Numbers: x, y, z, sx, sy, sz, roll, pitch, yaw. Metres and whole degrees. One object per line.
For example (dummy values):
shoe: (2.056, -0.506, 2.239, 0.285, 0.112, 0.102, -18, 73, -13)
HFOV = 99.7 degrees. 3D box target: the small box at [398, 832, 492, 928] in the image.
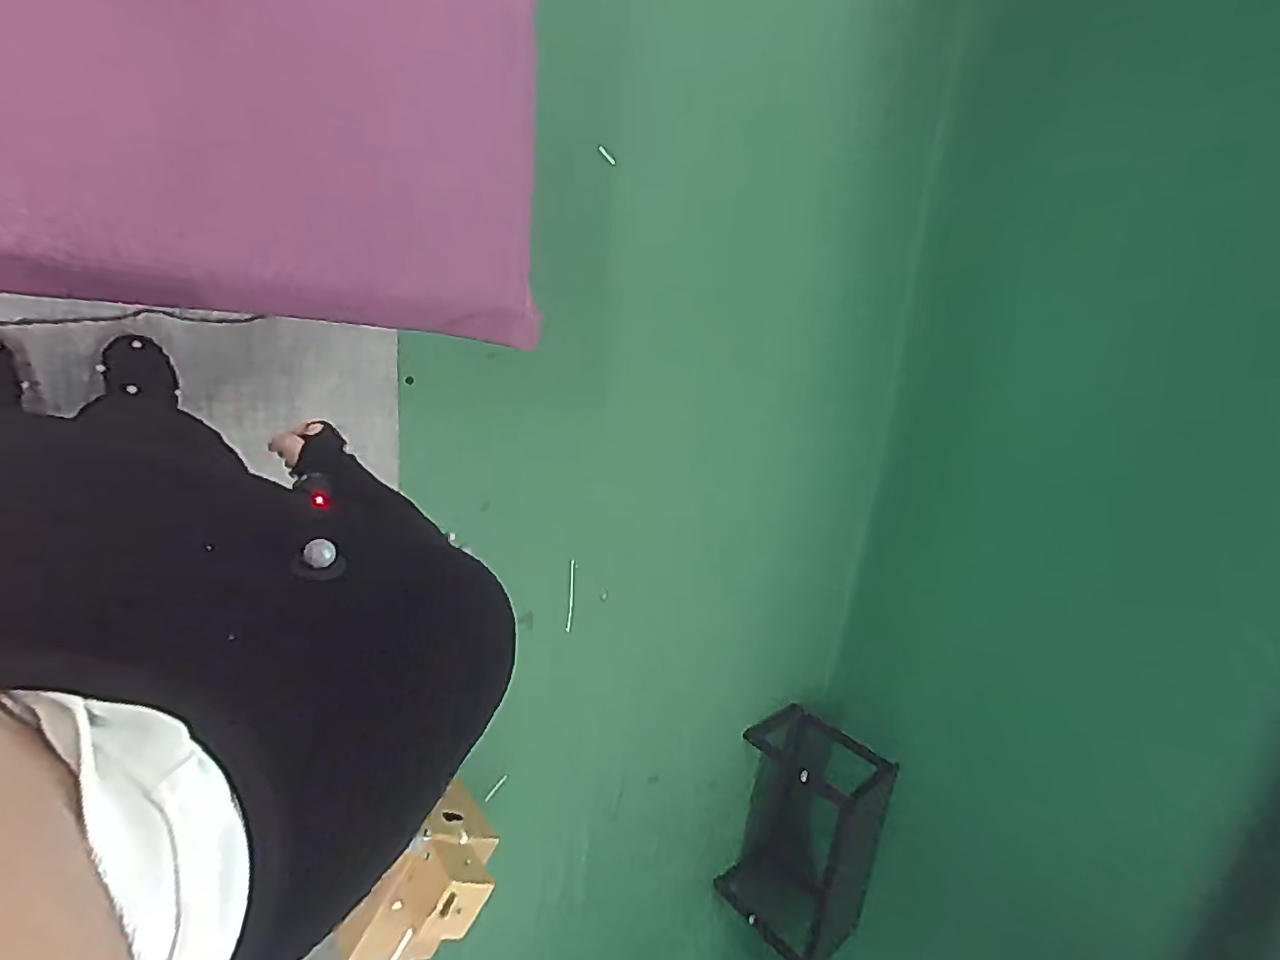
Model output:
small box: (-0.585, 1.188, 1.614, 0.168, 0.176, 0.179, -56, 133, -12)
